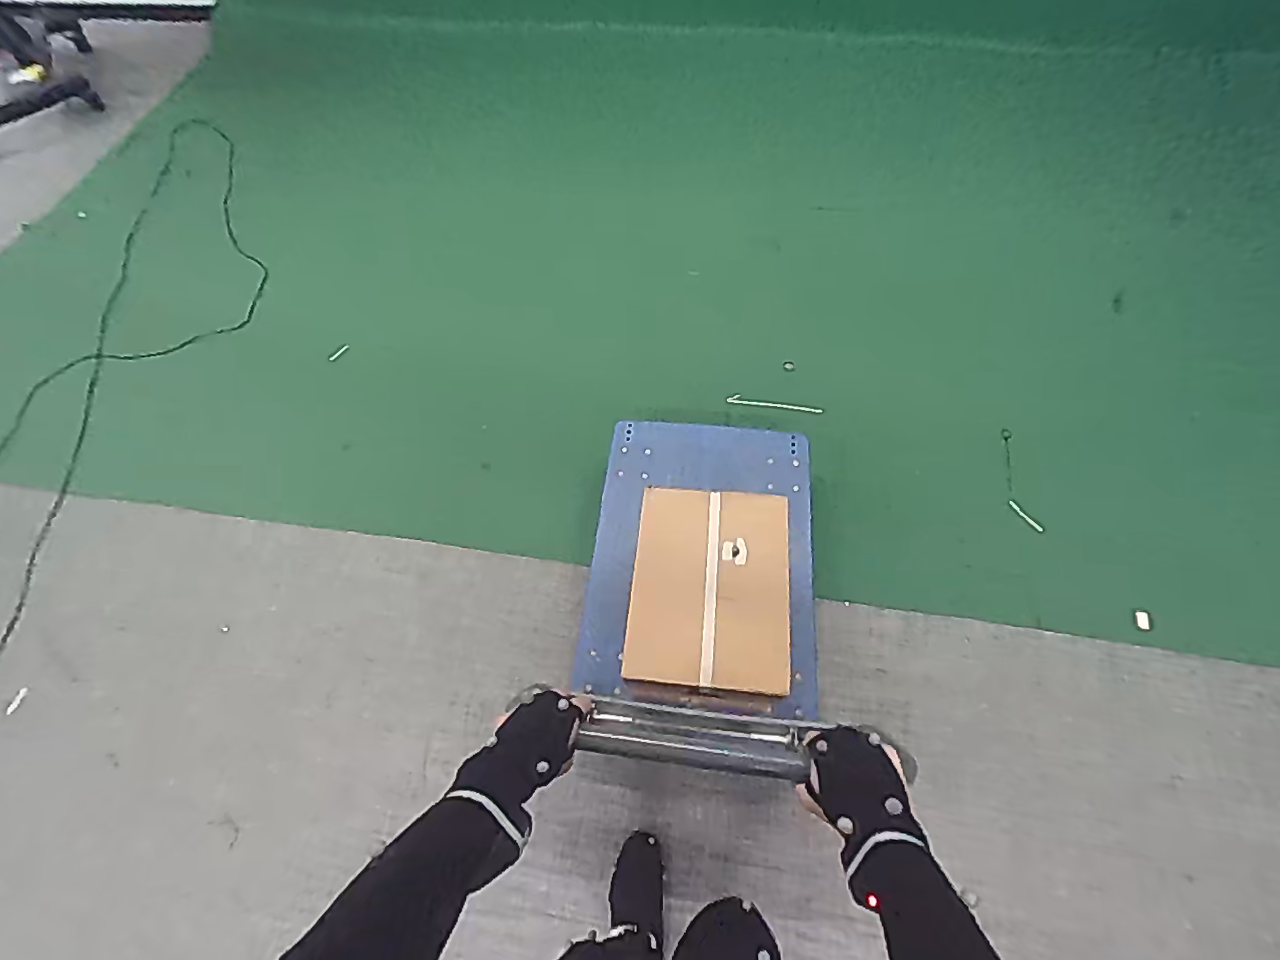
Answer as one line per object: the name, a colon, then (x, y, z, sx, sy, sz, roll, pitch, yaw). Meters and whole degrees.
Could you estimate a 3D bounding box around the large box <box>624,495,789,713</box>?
large box: (0.152, 0.287, 1.227, 0.320, 0.320, 0.408, 4, 62, 6)
